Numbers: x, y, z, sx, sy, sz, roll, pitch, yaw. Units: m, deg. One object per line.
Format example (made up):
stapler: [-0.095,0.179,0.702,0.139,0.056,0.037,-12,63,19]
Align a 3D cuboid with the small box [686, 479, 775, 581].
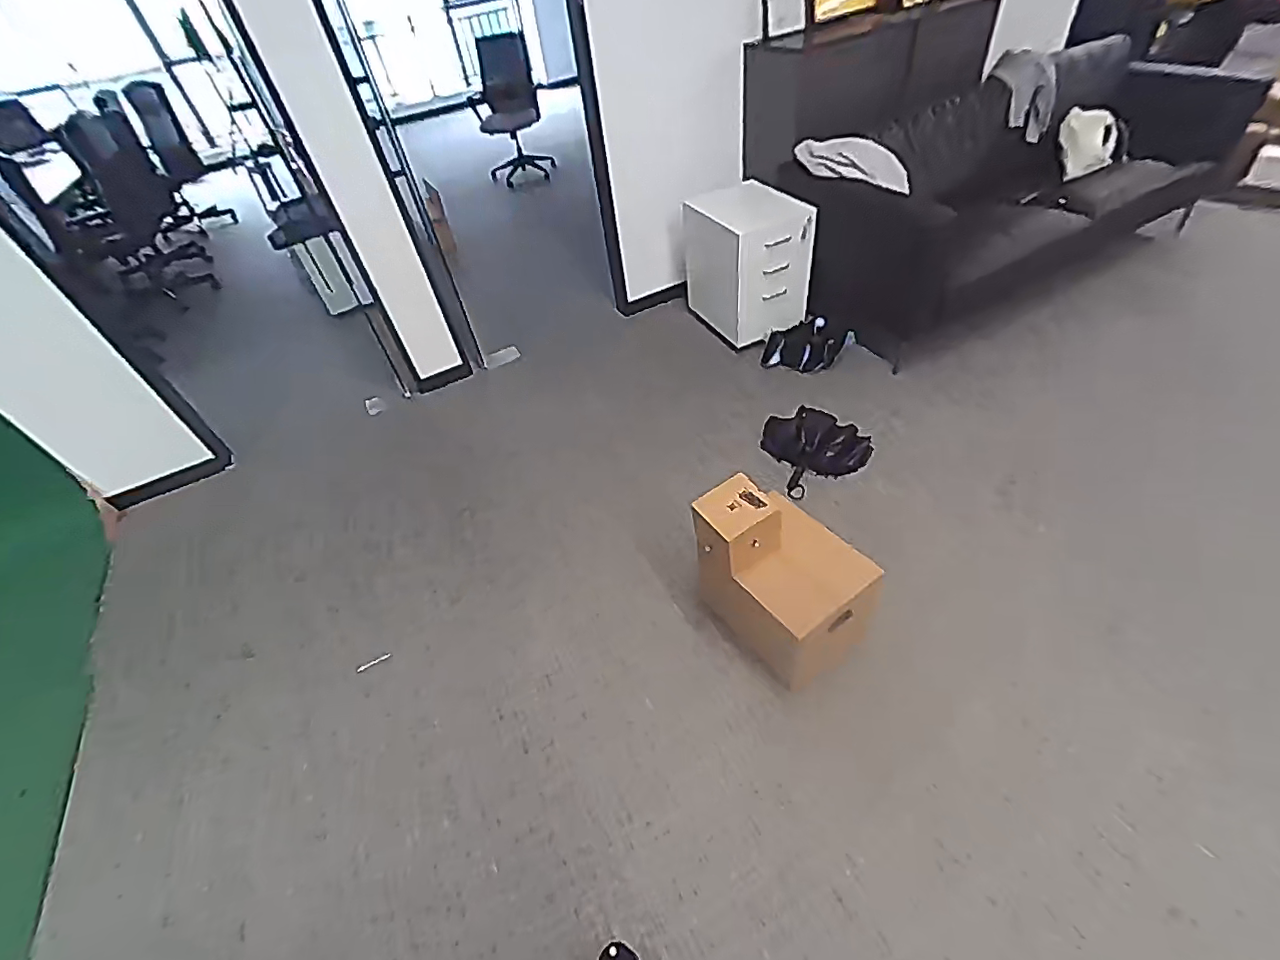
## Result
small box: [0.244,0.137,1.464,0.179,0.176,0.168,-31,48,-15]
